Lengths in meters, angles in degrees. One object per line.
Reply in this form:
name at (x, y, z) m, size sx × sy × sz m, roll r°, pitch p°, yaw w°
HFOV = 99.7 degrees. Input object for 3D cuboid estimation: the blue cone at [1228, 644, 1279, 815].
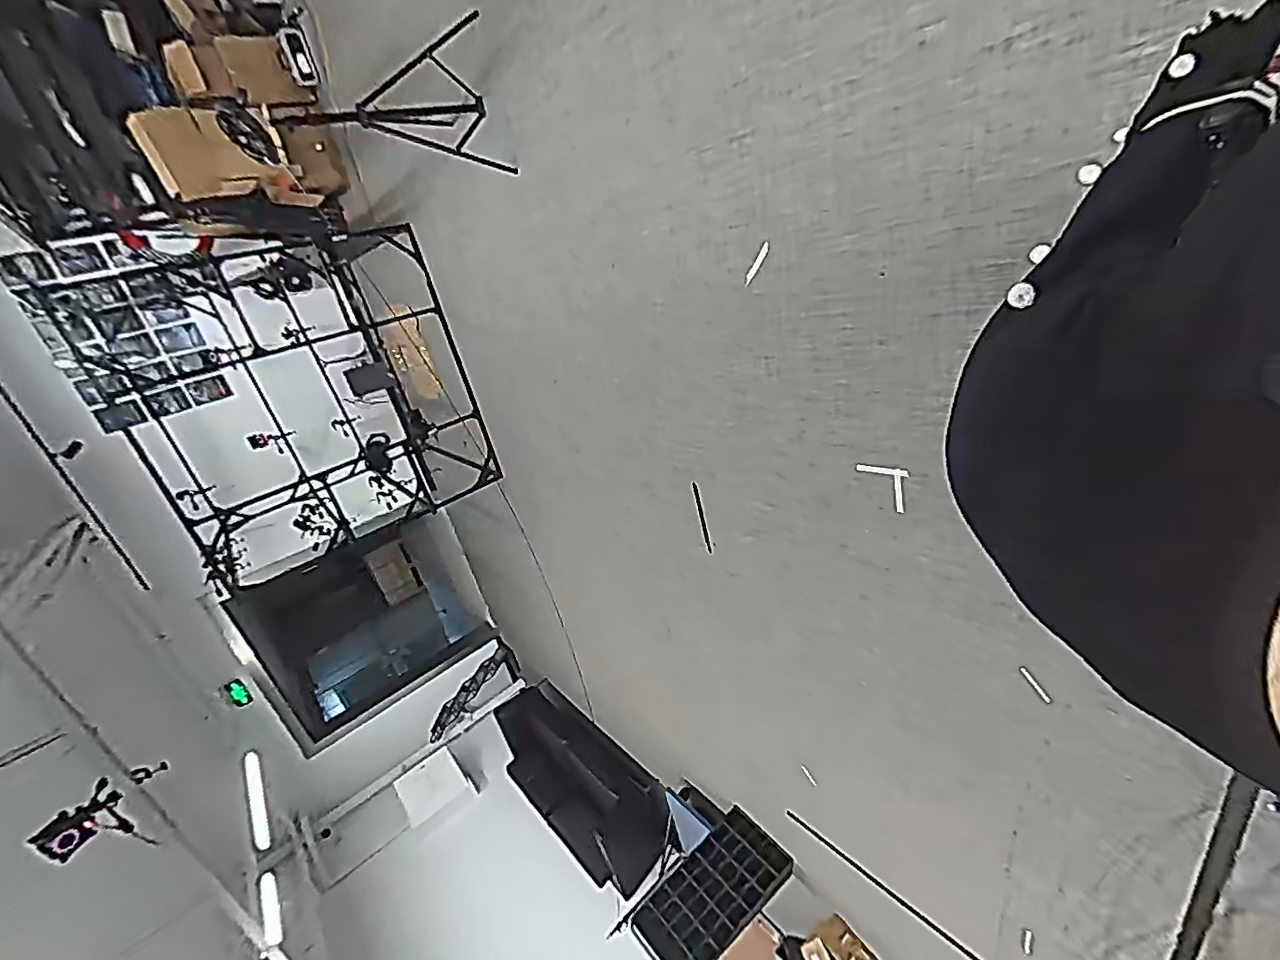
blue cone at (1.313, 0.530, 1.085) m, size 0.192 × 0.380 × 0.193 m, roll 33°, pitch 139°, yaw 39°
